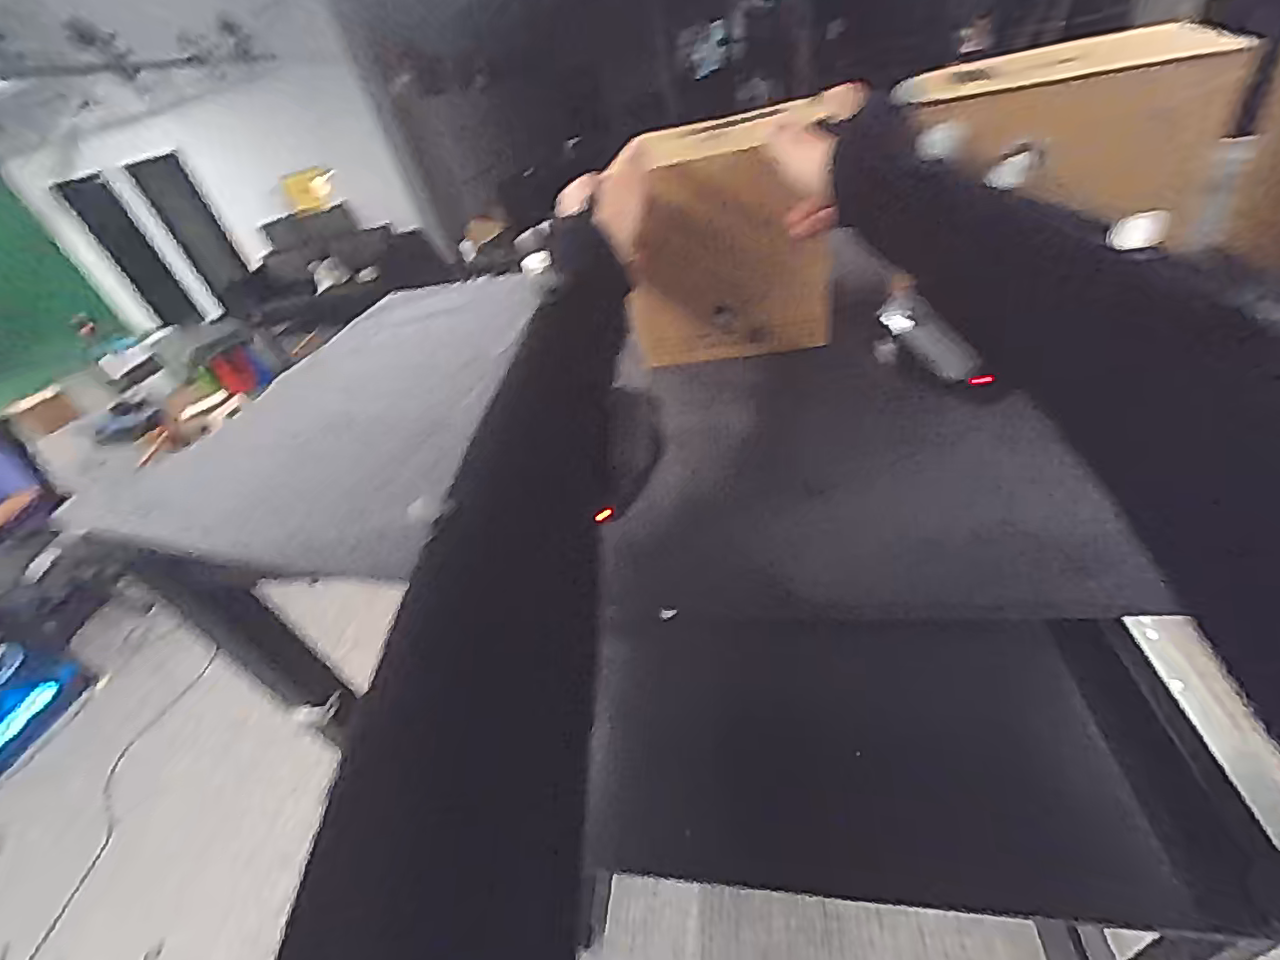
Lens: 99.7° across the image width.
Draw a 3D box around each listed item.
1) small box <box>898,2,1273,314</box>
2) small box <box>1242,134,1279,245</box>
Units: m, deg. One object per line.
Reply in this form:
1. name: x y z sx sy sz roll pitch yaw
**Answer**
1. small box: 0.307 -0.239 0.422 0.179 0.176 0.168 8 43 26
2. small box: 0.537 -0.223 0.321 0.168 0.176 0.179 -1 40 19
